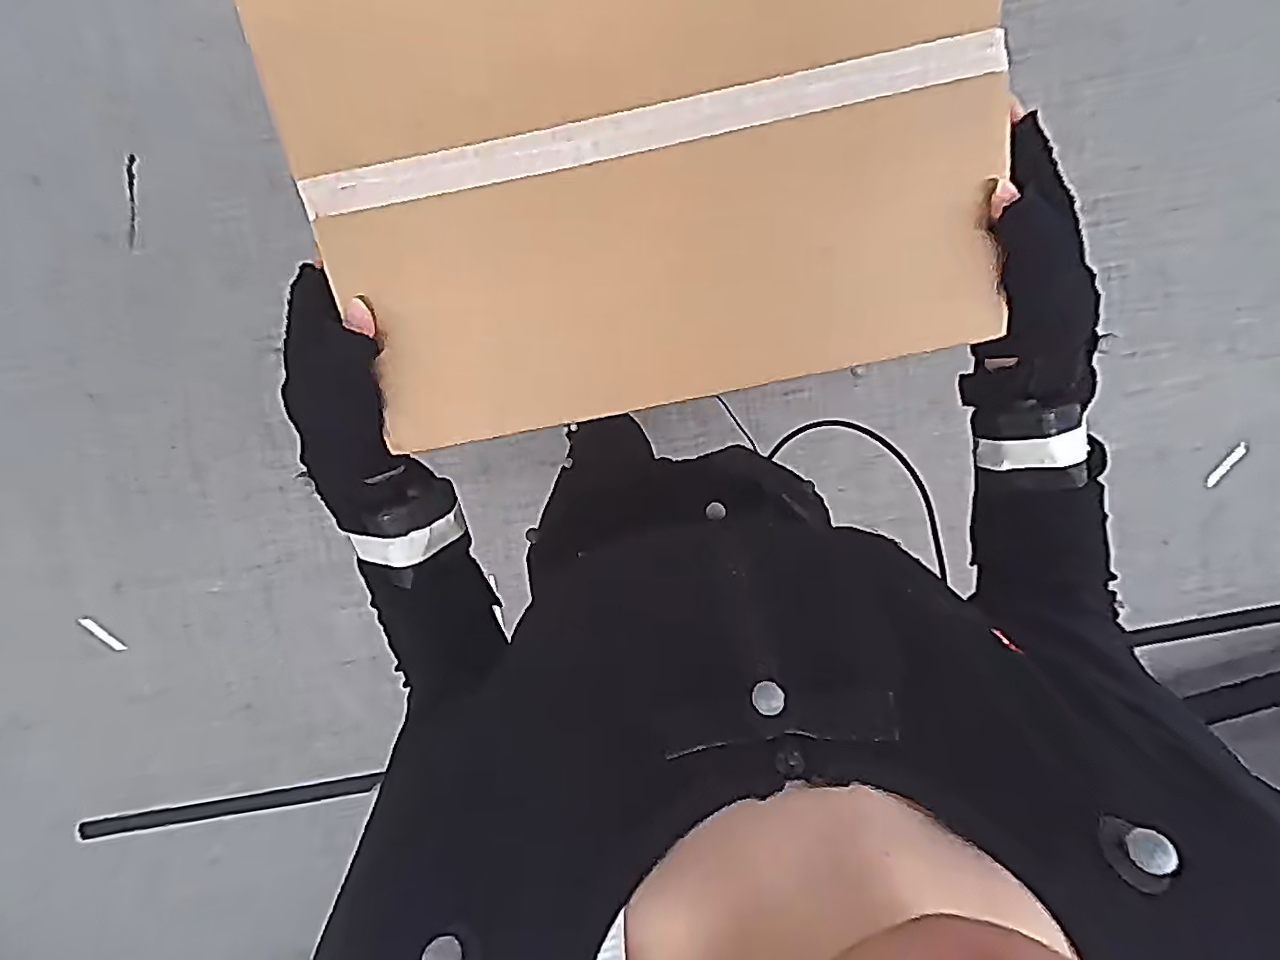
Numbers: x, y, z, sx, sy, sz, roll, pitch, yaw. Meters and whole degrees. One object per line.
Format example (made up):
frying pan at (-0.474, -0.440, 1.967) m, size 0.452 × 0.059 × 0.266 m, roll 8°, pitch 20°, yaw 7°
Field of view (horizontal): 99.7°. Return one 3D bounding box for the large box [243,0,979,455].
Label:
large box at (-0.003, -0.242, 0.462) m, size 0.408 × 0.320 × 0.320 m, roll -11°, pitch 106°, yaw 2°
